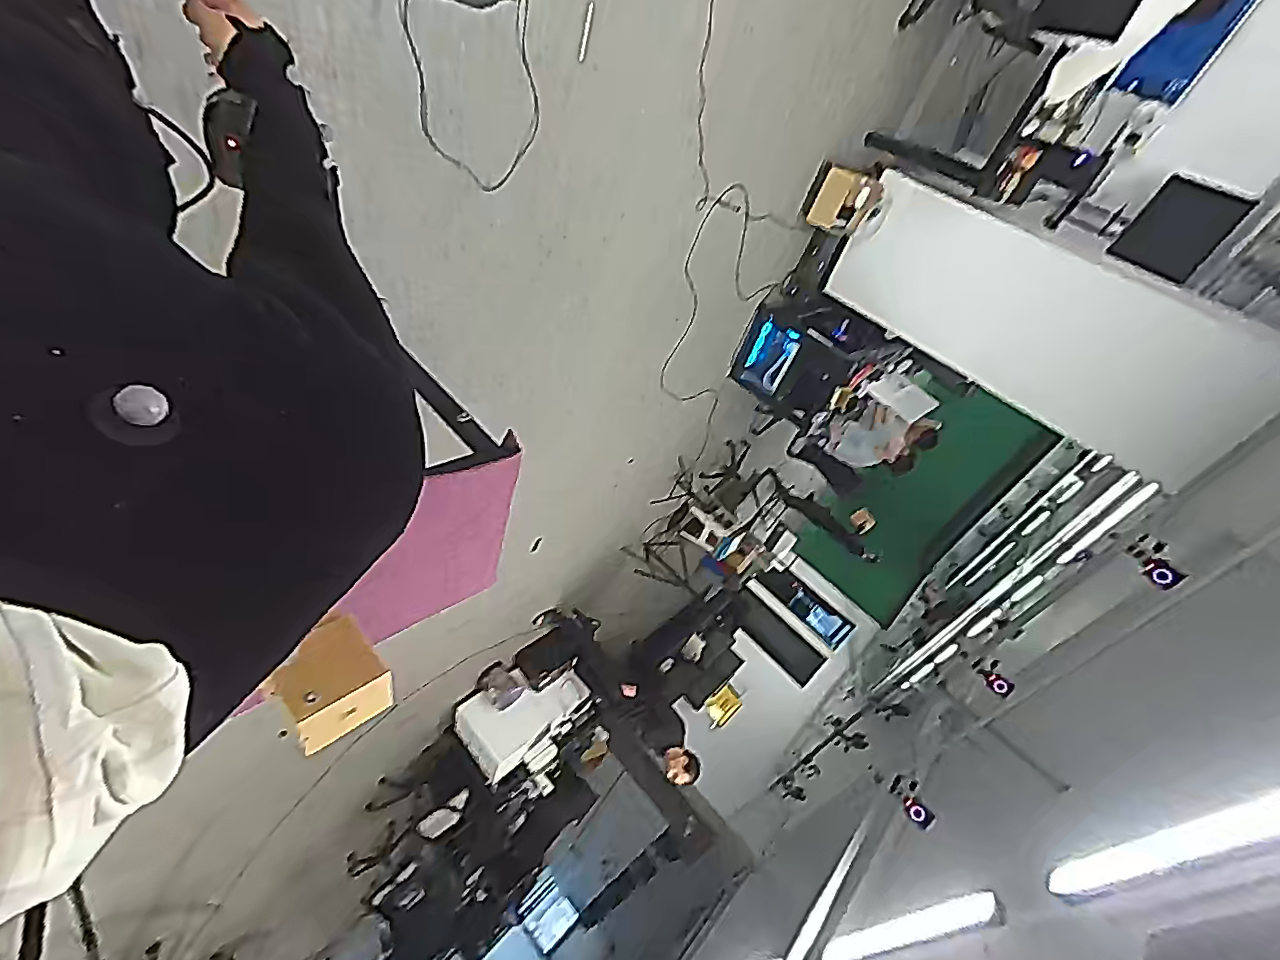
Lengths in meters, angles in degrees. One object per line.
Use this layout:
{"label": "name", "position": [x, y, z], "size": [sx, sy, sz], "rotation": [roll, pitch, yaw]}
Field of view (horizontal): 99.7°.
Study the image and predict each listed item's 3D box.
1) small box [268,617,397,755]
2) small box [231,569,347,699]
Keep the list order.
{"label": "small box", "position": [-0.629, 0.418, 1.117], "size": [0.179, 0.176, 0.168], "rotation": [-26, 150, -39]}
{"label": "small box", "position": [-0.755, 0.329, 1.175], "size": [0.179, 0.176, 0.168], "rotation": [-26, 150, -39]}
